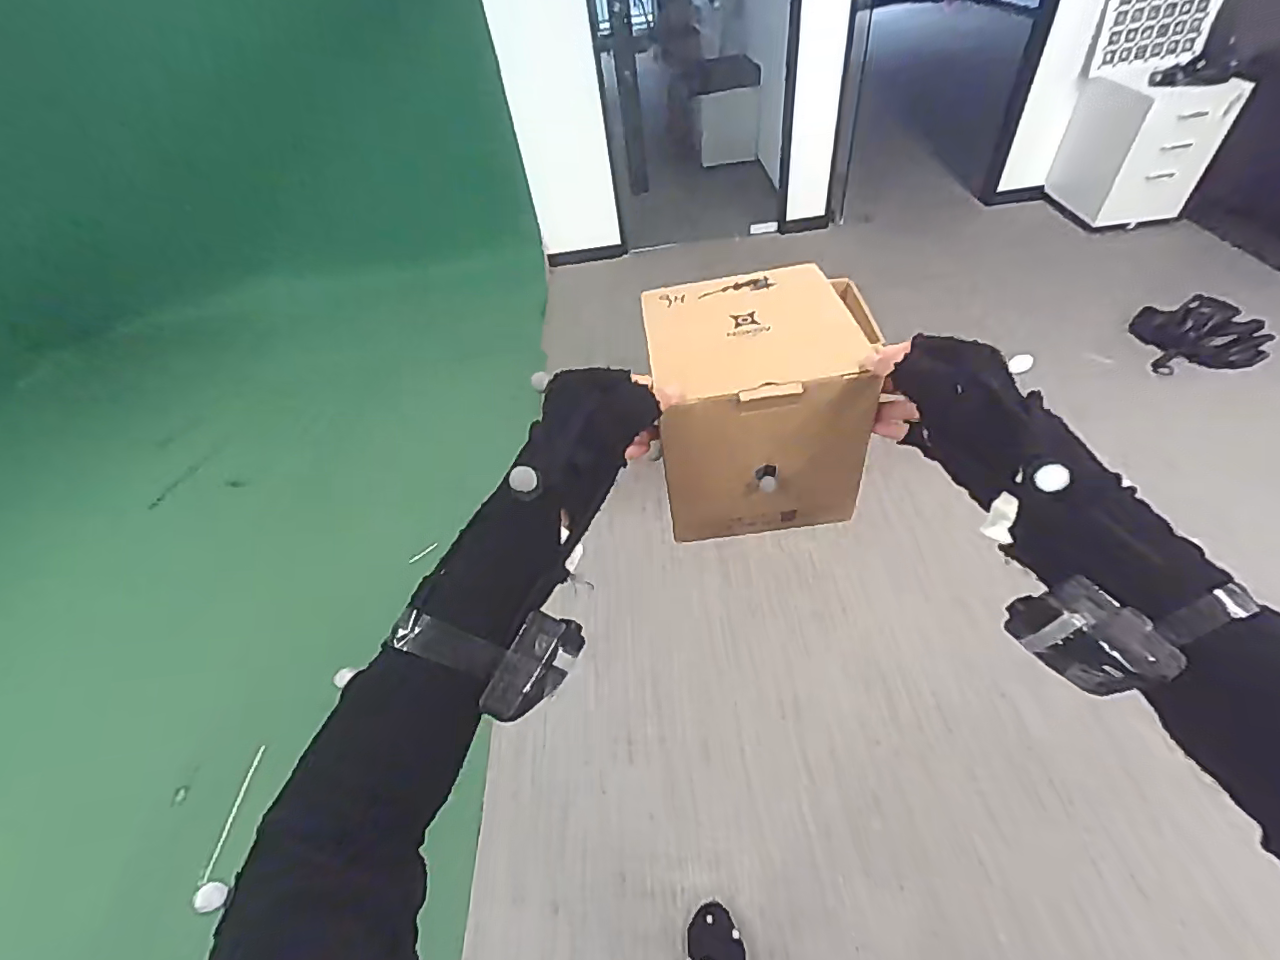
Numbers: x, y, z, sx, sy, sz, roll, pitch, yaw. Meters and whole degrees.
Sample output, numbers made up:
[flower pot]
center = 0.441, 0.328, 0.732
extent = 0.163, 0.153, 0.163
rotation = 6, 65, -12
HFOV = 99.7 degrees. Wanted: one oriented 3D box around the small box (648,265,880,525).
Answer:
[small box]
center = 0.103, -0.071, 0.508
extent = 0.168, 0.176, 0.179
rotation = -8, 47, 4
